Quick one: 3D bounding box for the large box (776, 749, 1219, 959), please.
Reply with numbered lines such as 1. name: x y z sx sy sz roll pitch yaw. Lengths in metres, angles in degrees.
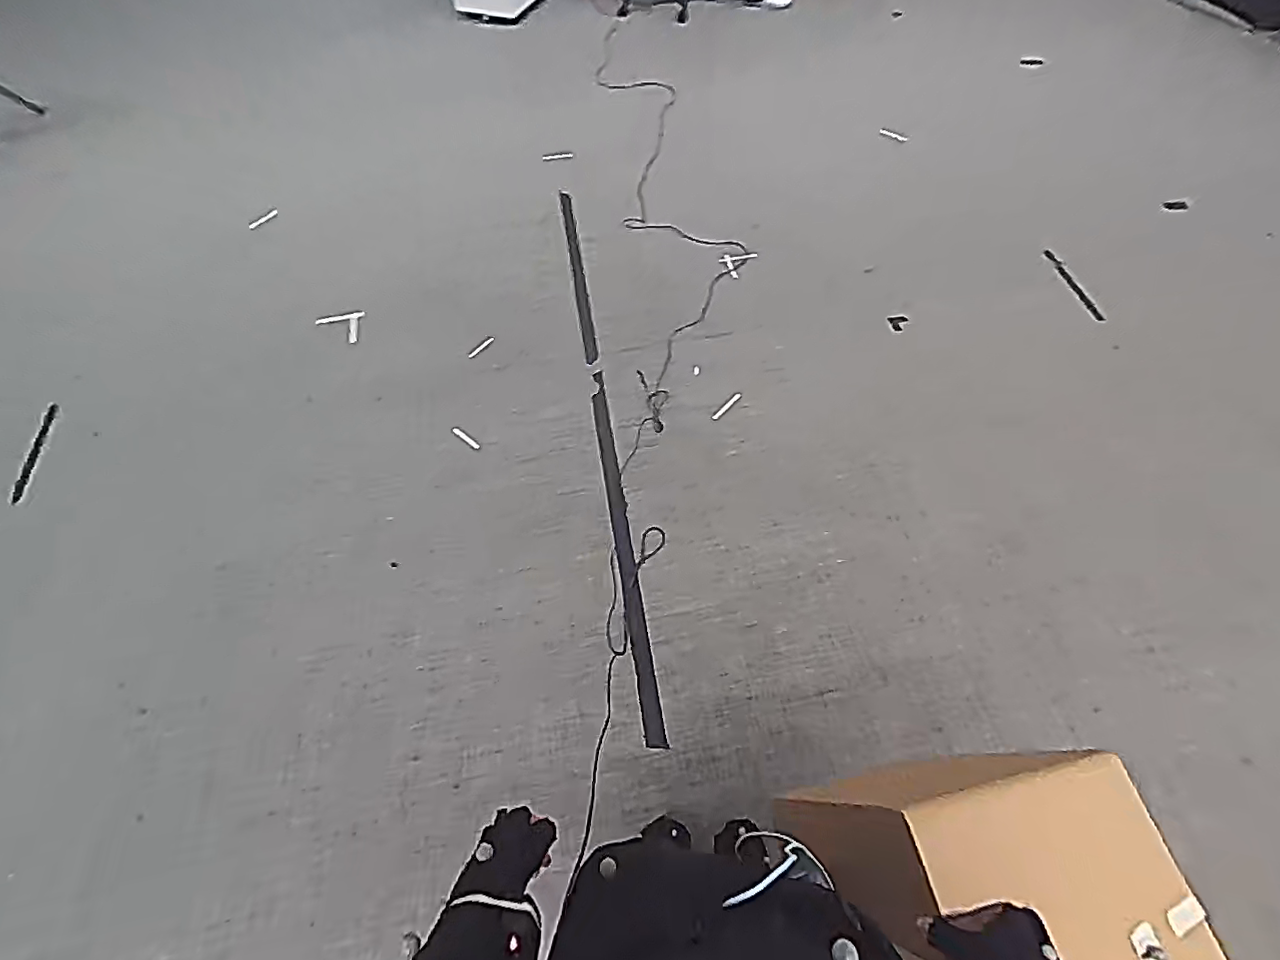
1. large box: 0.442 0.583 0.744 0.320 0.408 0.320 -7 63 -12
